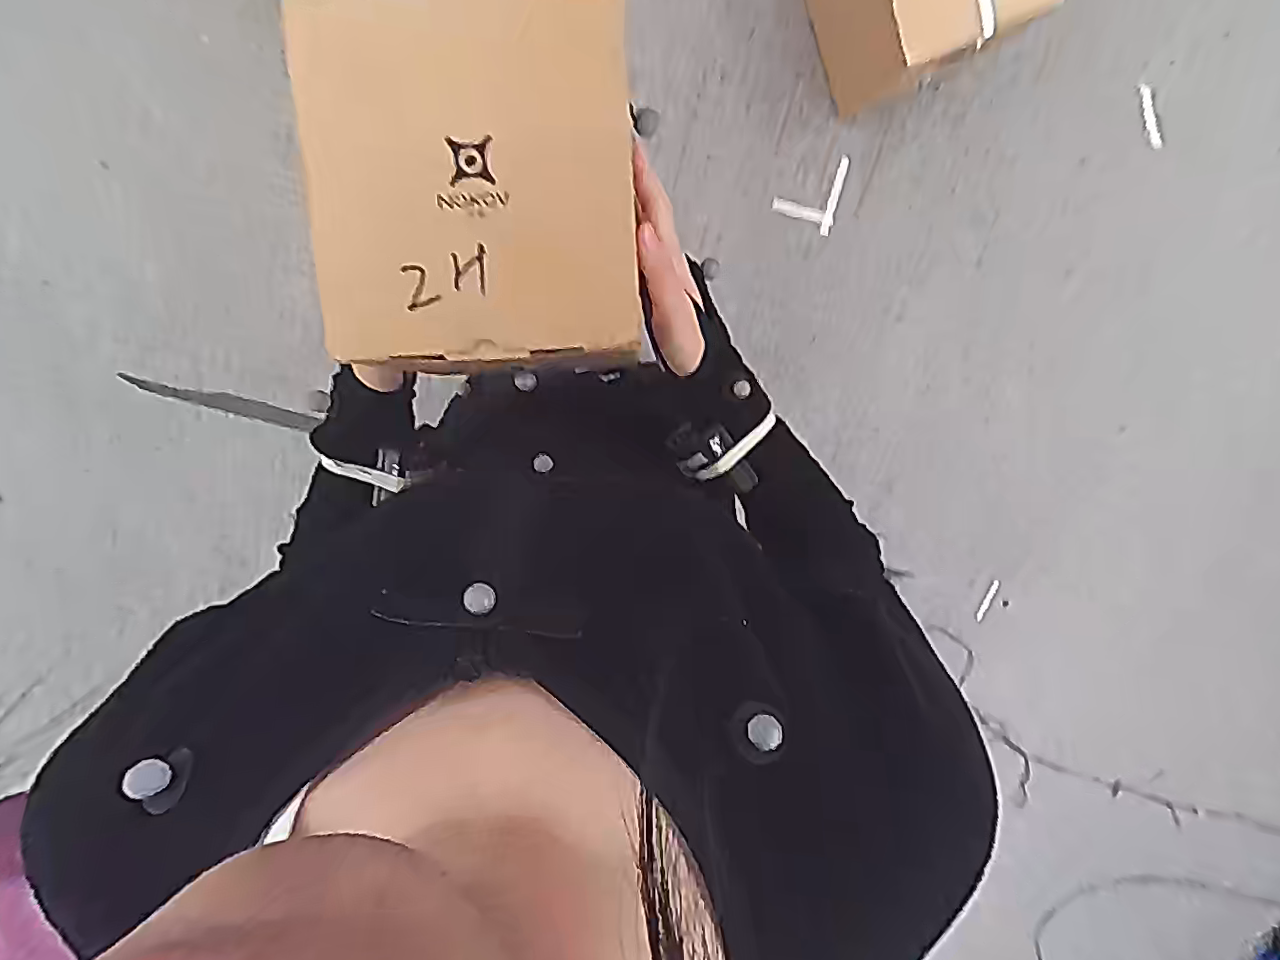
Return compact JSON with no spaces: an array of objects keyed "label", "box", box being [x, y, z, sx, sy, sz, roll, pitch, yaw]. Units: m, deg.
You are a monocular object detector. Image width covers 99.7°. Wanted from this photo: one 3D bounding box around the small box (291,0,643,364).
[{"label":"small box","box":[-0.086,-0.171,0.349,0.168,0.176,0.179,-3,99,-1]}]
